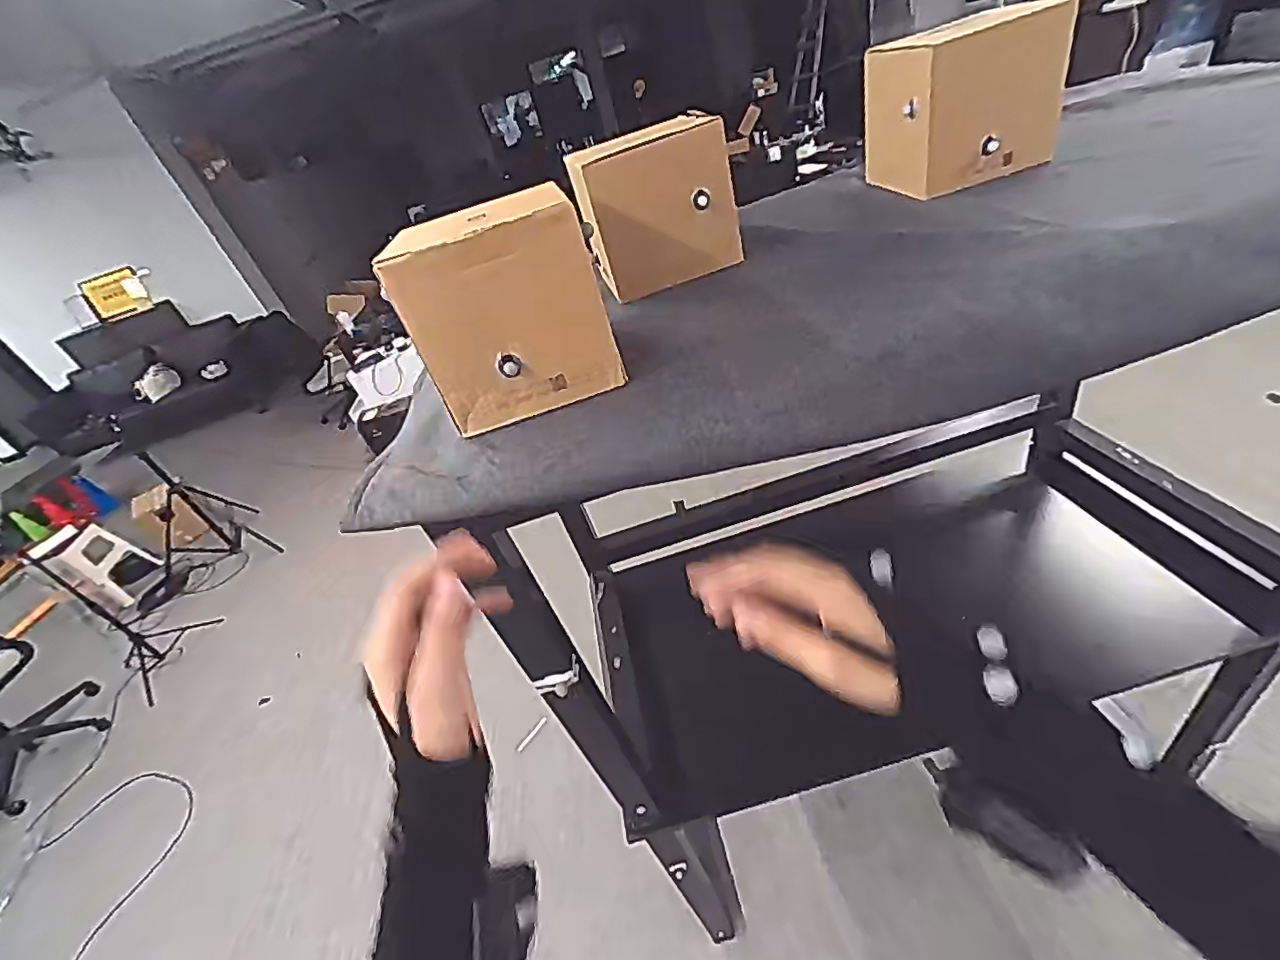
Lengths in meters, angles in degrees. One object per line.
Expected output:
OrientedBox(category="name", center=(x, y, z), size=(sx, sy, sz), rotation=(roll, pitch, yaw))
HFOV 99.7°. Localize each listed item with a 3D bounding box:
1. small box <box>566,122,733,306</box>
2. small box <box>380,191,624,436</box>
OrientedBox(category="small box", center=(0.016, -0.358, 0.726), size=(0.179, 0.176, 0.168), rotation=(-19, 36, -2))
OrientedBox(category="small box", center=(-0.126, -0.169, 0.541), size=(0.168, 0.176, 0.179), rotation=(-19, 35, -2))
